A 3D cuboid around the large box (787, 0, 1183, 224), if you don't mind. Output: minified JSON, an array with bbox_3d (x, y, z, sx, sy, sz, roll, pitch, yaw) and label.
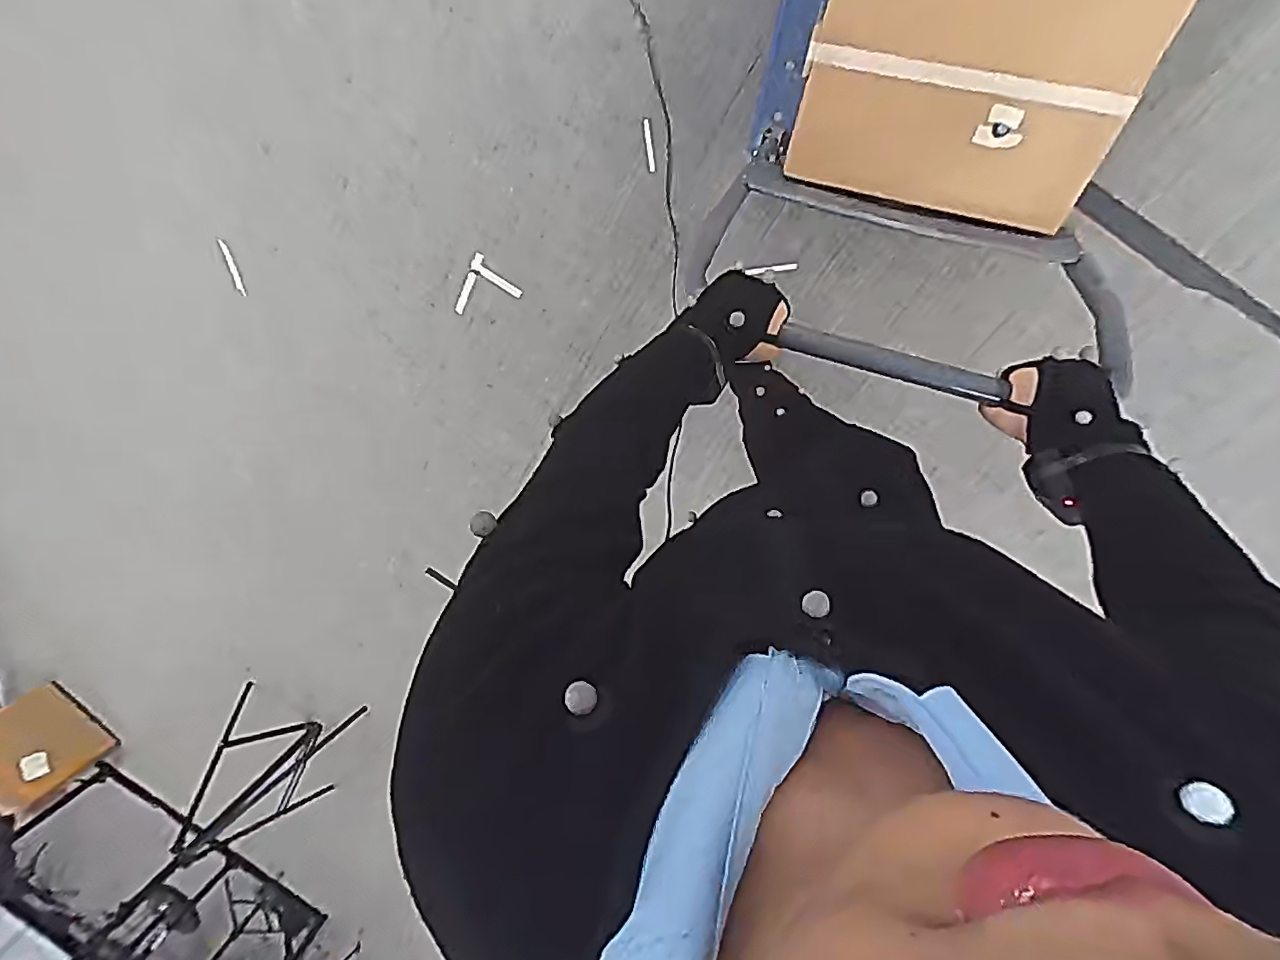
[{"bbox_3d":[0.476,-0.630,0.834,0.408,0.320,0.320,17,132,8],"label":"large box"}]
